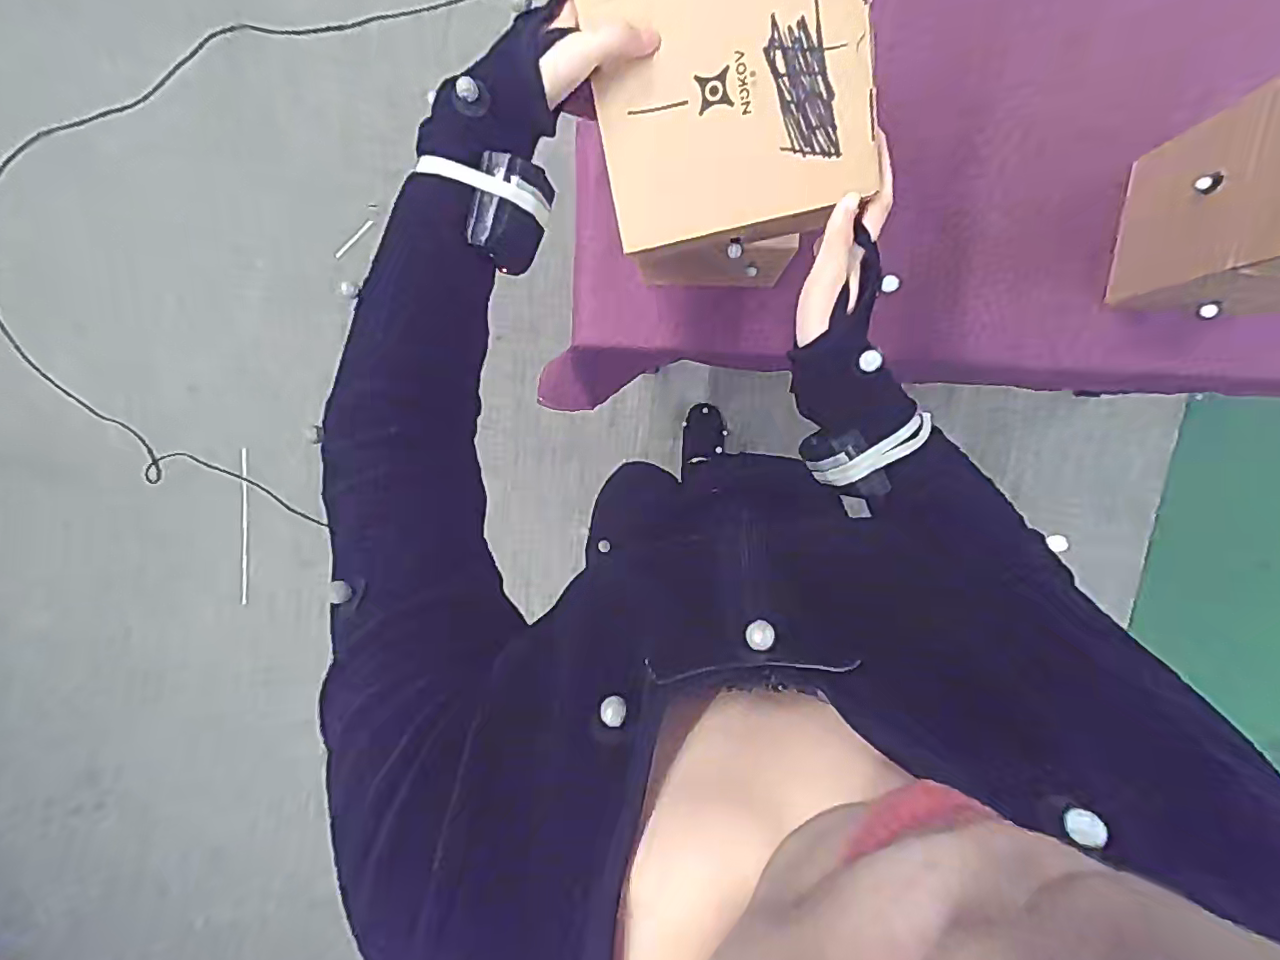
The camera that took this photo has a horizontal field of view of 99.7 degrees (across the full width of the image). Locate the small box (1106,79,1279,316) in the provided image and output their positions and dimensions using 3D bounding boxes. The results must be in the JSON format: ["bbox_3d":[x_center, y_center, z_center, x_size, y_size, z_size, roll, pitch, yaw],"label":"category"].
[{"bbox_3d":[0.664,-0.289,0.589,0.168,0.176,0.179,7,98,5],"label":"small box"}]

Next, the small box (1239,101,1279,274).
[{"bbox_3d":[0.653,-0.269,0.427,0.168,0.176,0.179,7,99,4],"label":"small box"}]
